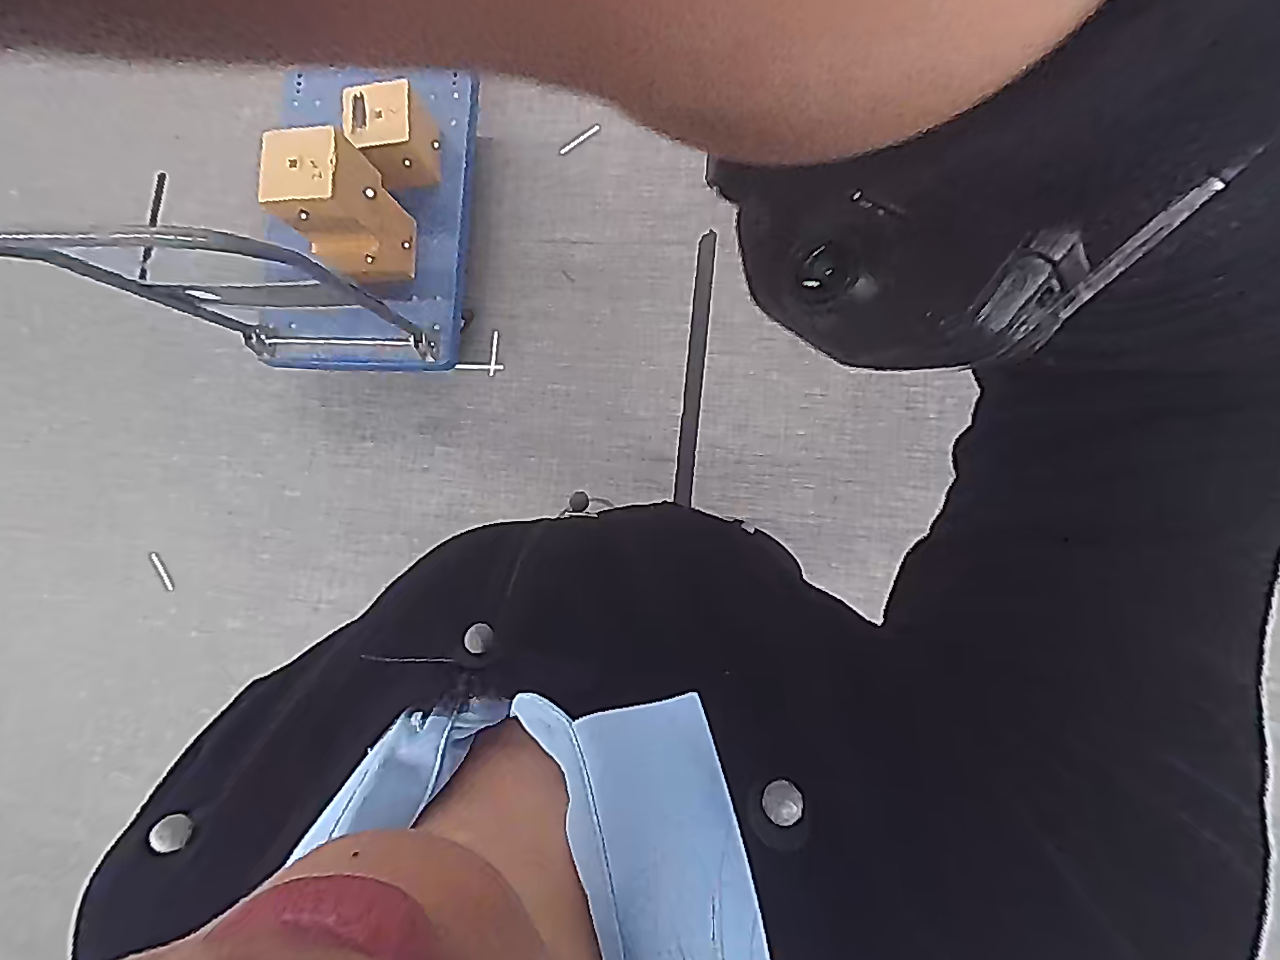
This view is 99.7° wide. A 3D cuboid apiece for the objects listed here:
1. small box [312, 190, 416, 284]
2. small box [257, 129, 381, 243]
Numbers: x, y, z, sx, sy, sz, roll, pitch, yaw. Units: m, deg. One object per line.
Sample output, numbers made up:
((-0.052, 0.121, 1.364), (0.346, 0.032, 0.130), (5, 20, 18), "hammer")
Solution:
((-0.710, -0.624, 1.402), (0.179, 0.176, 0.168), (-1, 85, 7), "small box")
((-0.729, -0.665, 1.242), (0.179, 0.176, 0.168), (0, 85, 7), "small box")
